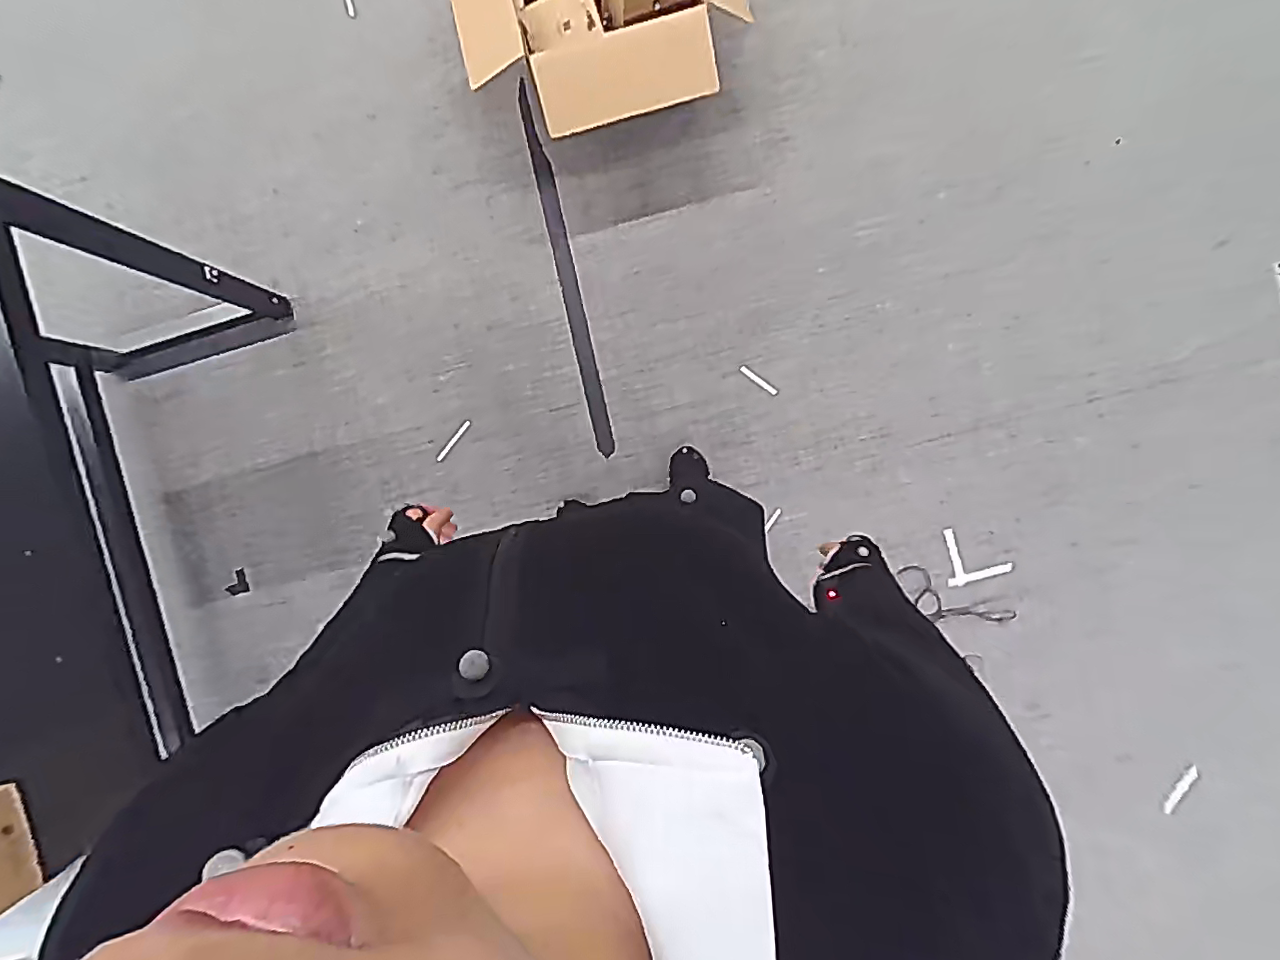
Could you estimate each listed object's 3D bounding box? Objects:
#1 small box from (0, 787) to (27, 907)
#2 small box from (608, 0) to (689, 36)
[{"bbox_3d":[-1.014,0.556,0.742,0.179,0.176,0.168,-15,90,4],"label":"small box"},{"bbox_3d":[0.010,-1.129,1.185,0.168,0.176,0.179,-20,92,-1],"label":"small box"}]
